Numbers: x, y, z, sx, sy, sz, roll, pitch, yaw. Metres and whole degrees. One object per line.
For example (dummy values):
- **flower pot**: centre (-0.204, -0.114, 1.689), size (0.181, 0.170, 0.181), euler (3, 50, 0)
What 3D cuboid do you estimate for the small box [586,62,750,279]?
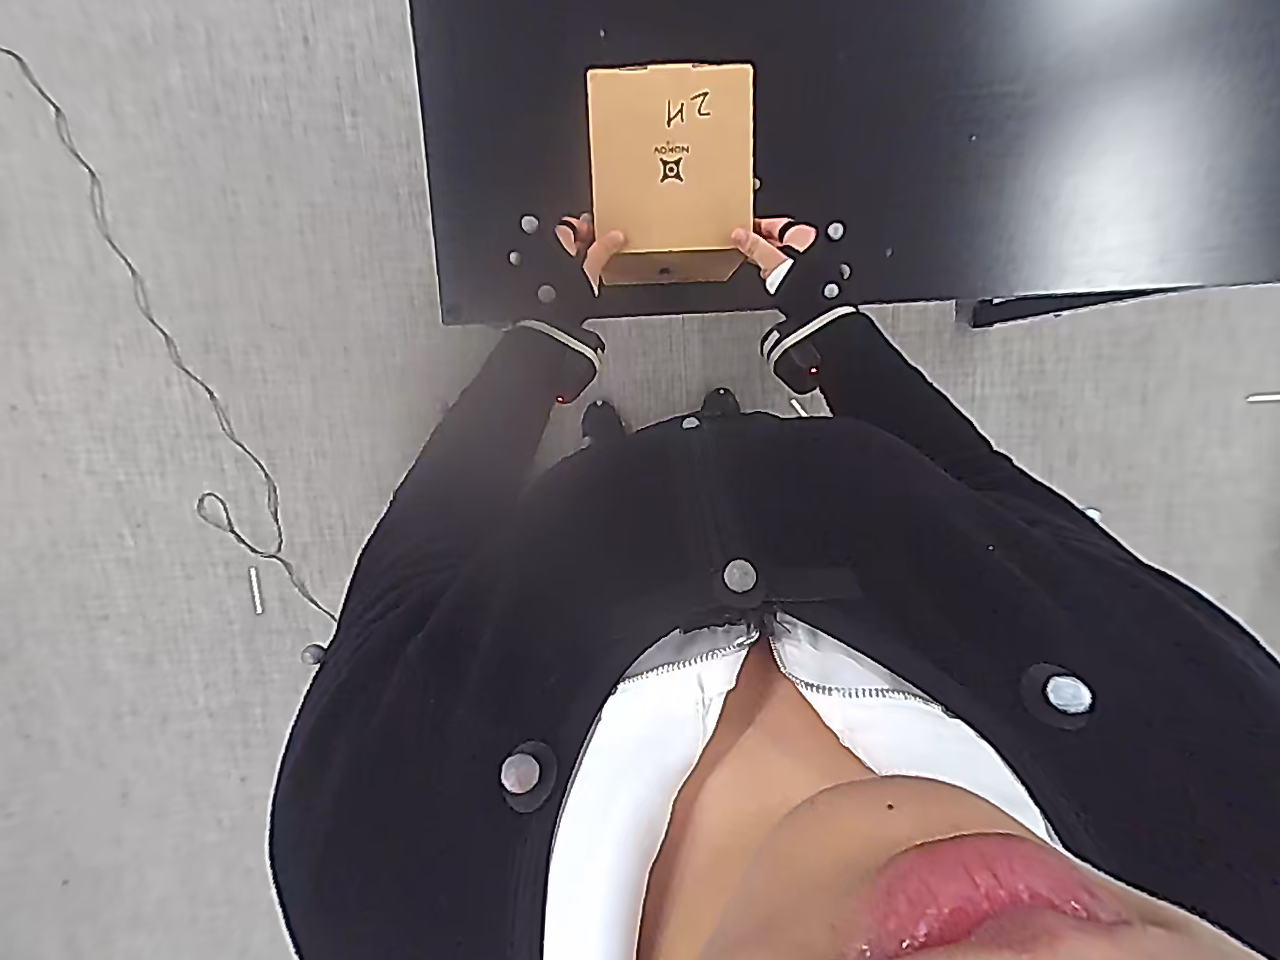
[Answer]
- **small box**: centre (0.031, -0.337, 0.626), size (0.168, 0.176, 0.179), euler (-2, 99, 0)
